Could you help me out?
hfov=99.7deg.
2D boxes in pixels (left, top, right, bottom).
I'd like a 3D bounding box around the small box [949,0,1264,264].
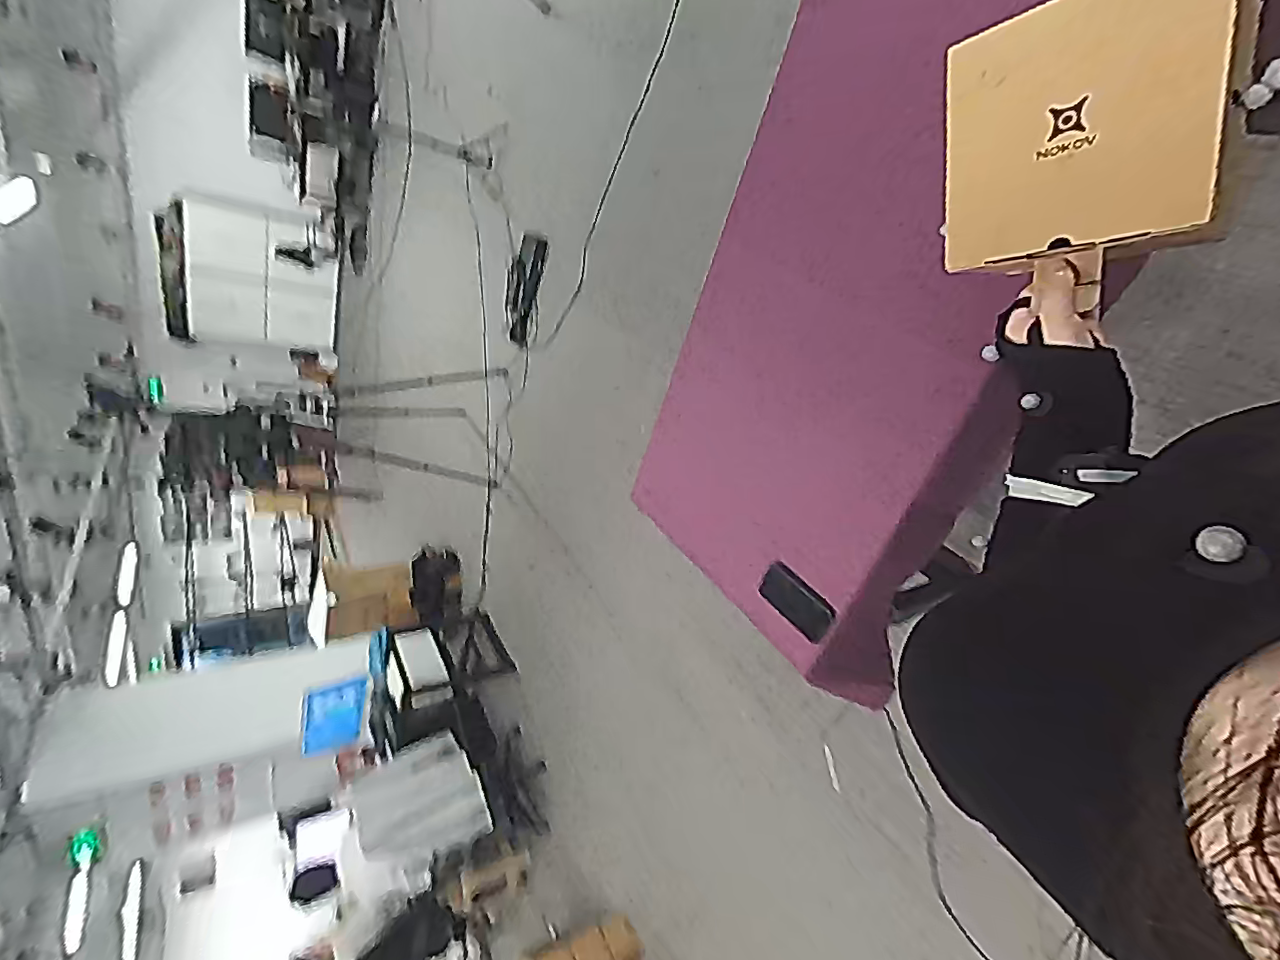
[{"bbox_3d":[0.379,-0.283,0.448,0.168,0.176,0.179,11,113,47],"label":"small box"}]
